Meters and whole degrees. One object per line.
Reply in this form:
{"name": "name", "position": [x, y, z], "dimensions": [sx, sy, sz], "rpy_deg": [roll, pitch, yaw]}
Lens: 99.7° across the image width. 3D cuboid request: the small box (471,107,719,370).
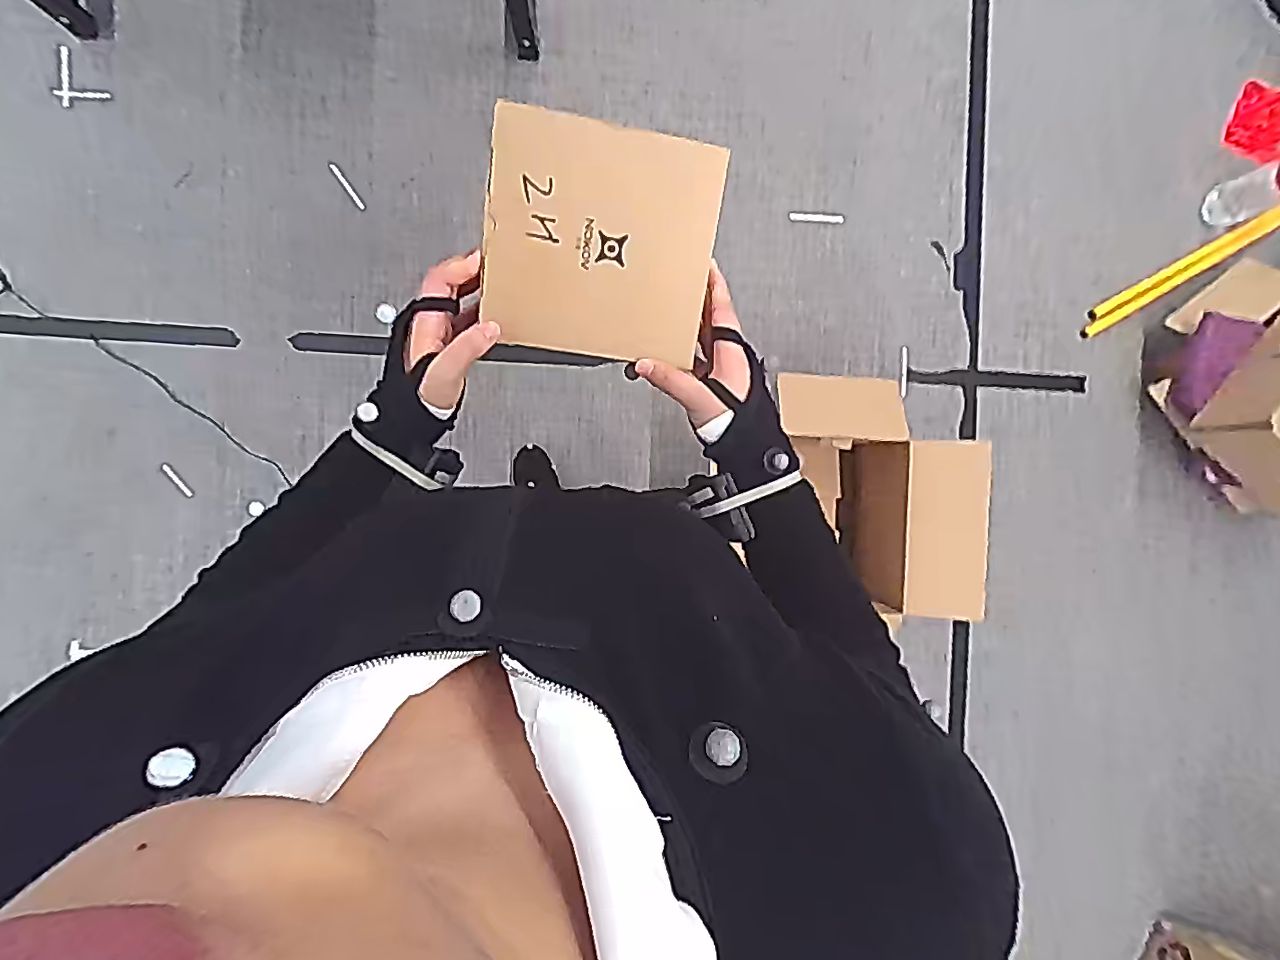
{"name": "small box", "position": [-0.044, -0.200, 0.492], "dimensions": [0.179, 0.176, 0.168], "rpy_deg": [7, 105, -7]}
